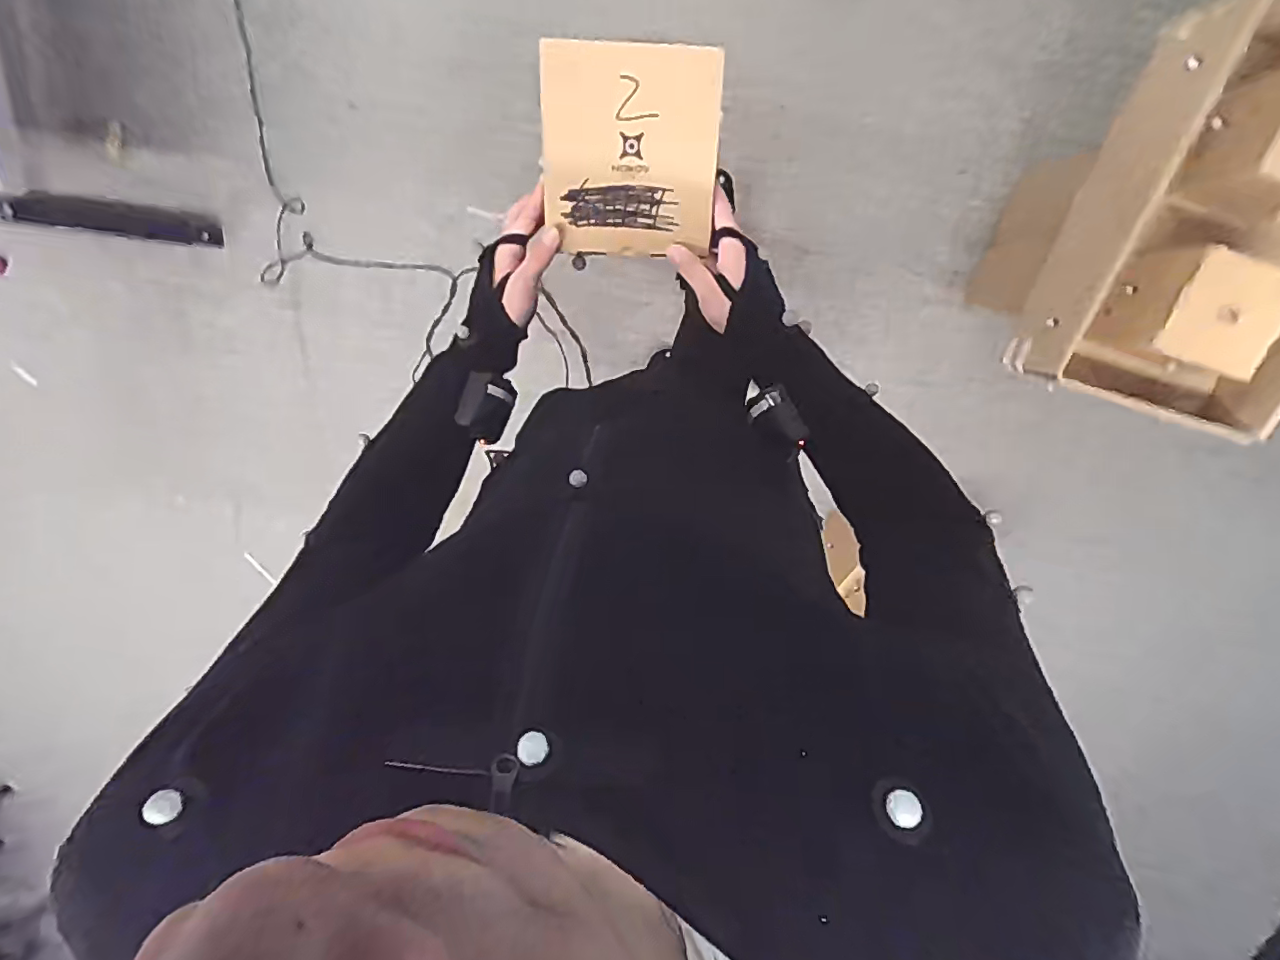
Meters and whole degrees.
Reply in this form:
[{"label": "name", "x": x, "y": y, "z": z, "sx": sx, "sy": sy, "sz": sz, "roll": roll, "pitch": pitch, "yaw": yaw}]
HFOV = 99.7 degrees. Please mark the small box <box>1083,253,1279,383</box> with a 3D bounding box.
[{"label": "small box", "x": 0.960, "y": -0.289, "z": 0.958, "sx": 0.179, "sy": 0.176, "sz": 0.168, "roll": 18, "pitch": 109, "yaw": -1}]
